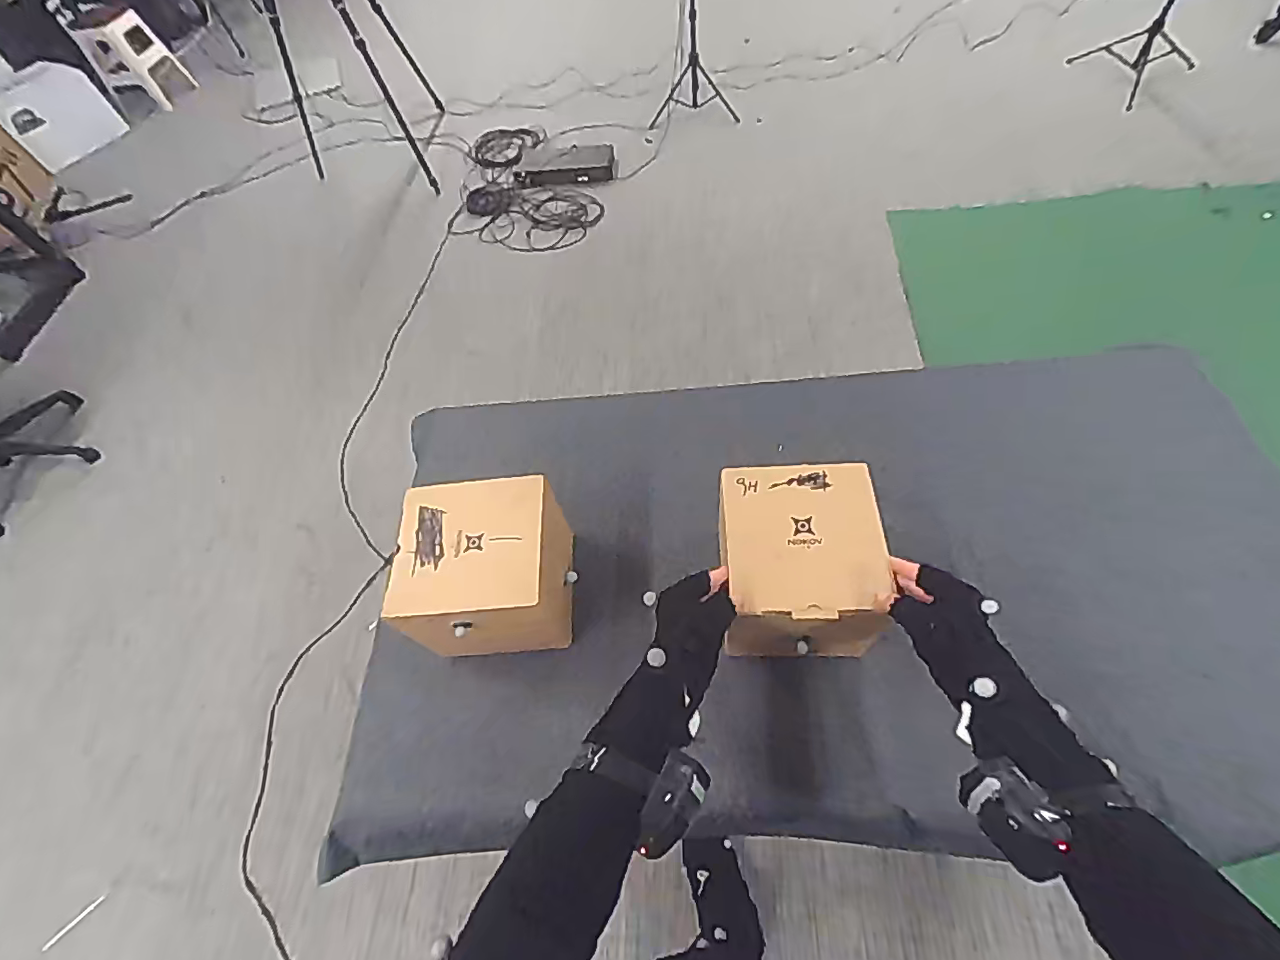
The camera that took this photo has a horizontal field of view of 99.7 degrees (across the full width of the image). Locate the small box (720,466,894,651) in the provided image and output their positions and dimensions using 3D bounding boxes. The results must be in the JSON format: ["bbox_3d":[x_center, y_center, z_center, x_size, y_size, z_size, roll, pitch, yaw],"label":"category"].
[{"bbox_3d":[0.183,0.102,0.649,0.168,0.176,0.179,-2,59,6],"label":"small box"}]

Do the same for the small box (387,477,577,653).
[{"bbox_3d":[-0.185,0.116,0.689,0.179,0.176,0.168,-5,58,3],"label":"small box"}]
